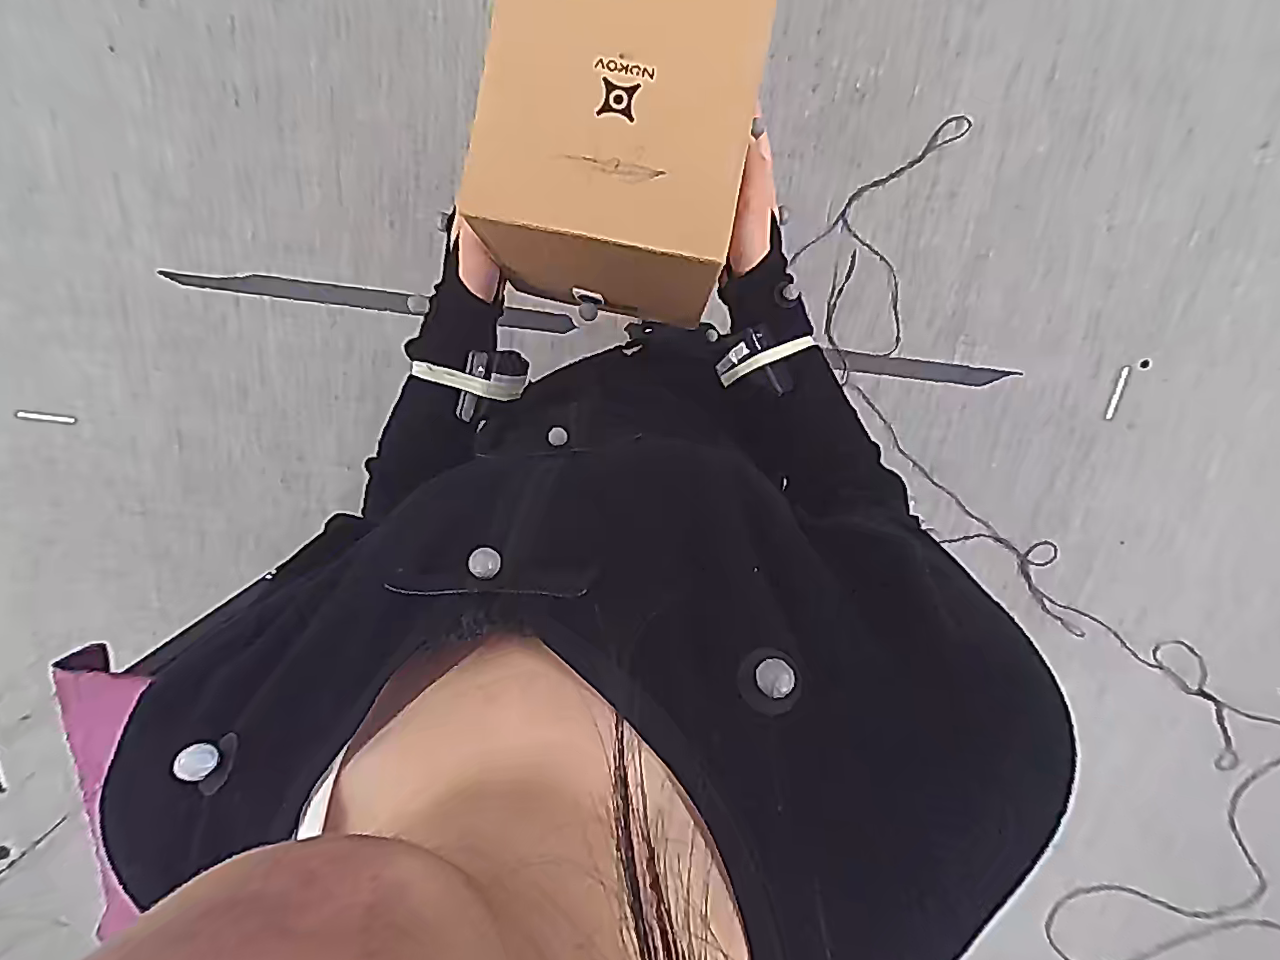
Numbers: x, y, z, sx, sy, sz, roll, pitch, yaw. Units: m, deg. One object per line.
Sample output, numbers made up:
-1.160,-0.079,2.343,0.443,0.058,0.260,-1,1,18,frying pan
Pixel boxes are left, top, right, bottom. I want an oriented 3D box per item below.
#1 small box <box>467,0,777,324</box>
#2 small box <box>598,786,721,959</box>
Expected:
-0.012,-0.236,0.408,0.168,0.176,0.179,10,92,0,small box
0.026,0.618,0.844,0.168,0.176,0.179,3,107,-1,small box
